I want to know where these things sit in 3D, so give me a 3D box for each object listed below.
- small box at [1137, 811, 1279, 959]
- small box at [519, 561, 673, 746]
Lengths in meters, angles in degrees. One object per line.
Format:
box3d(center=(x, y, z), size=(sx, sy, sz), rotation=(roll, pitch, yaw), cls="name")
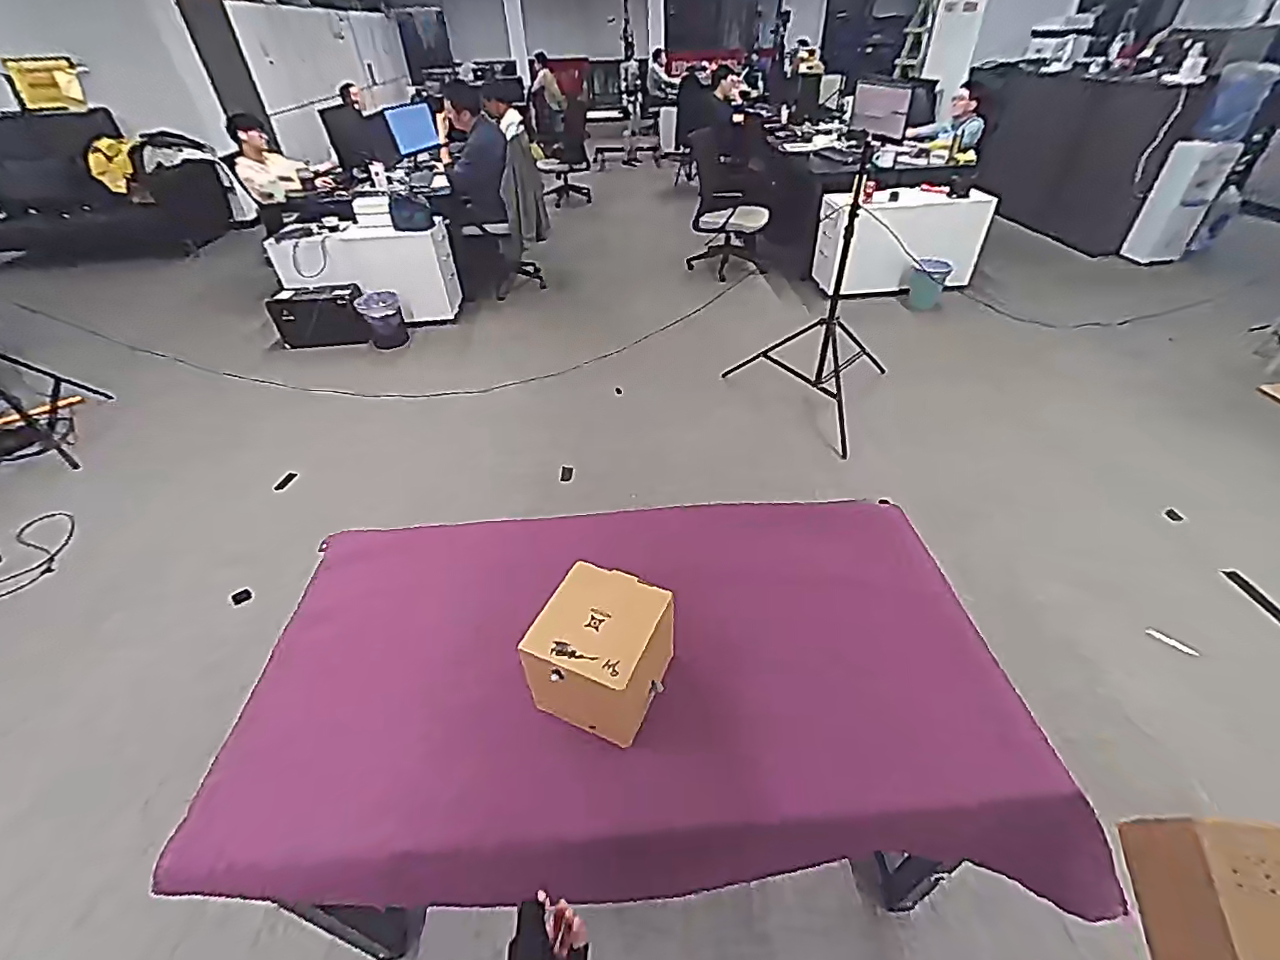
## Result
box3d(center=(0.412, 0.286, 0.290), size=(0.168, 0.179, 0.176), rotation=(-6, 58, 25), cls="small box")
box3d(center=(-0.058, 0.259, 0.821), size=(0.168, 0.176, 0.179), rotation=(15, 42, 20), cls="small box")
